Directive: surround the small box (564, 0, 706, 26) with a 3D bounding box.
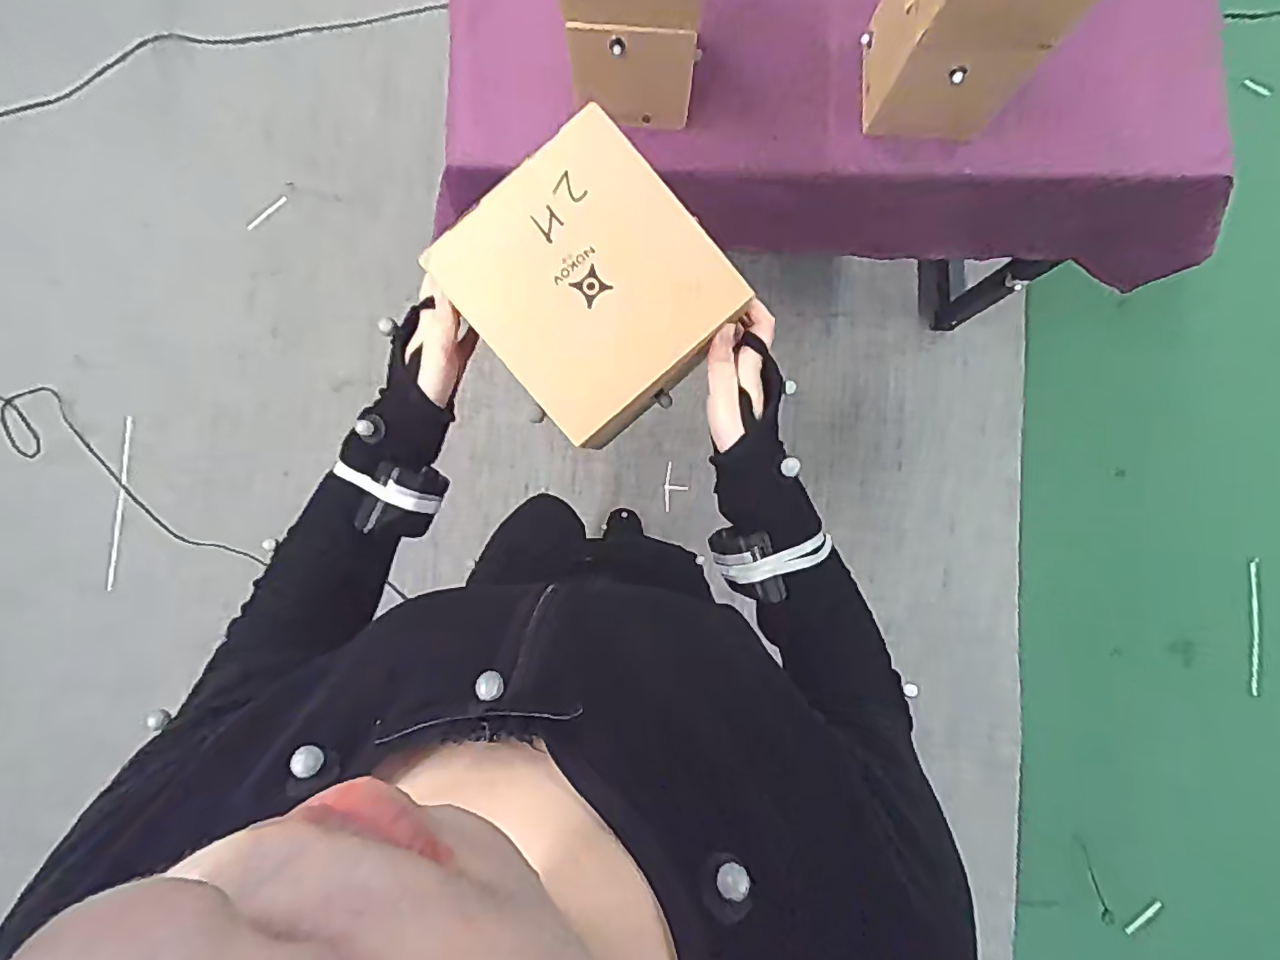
[{"bbox_3d":[0.002,-0.644,0.587,0.179,0.176,0.168,5,86,0],"label":"small box"}]

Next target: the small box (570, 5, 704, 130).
[{"bbox_3d":[0.000,-0.633,0.750,0.168,0.176,0.179,4,85,0],"label":"small box"}]

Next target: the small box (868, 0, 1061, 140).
[{"bbox_3d":[0.435,-0.607,0.751,0.179,0.176,0.168,3,86,-1],"label":"small box"}]

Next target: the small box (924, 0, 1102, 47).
[{"bbox_3d":[0.440,-0.617,0.589,0.179,0.176,0.168,2,87,1],"label":"small box"}]
